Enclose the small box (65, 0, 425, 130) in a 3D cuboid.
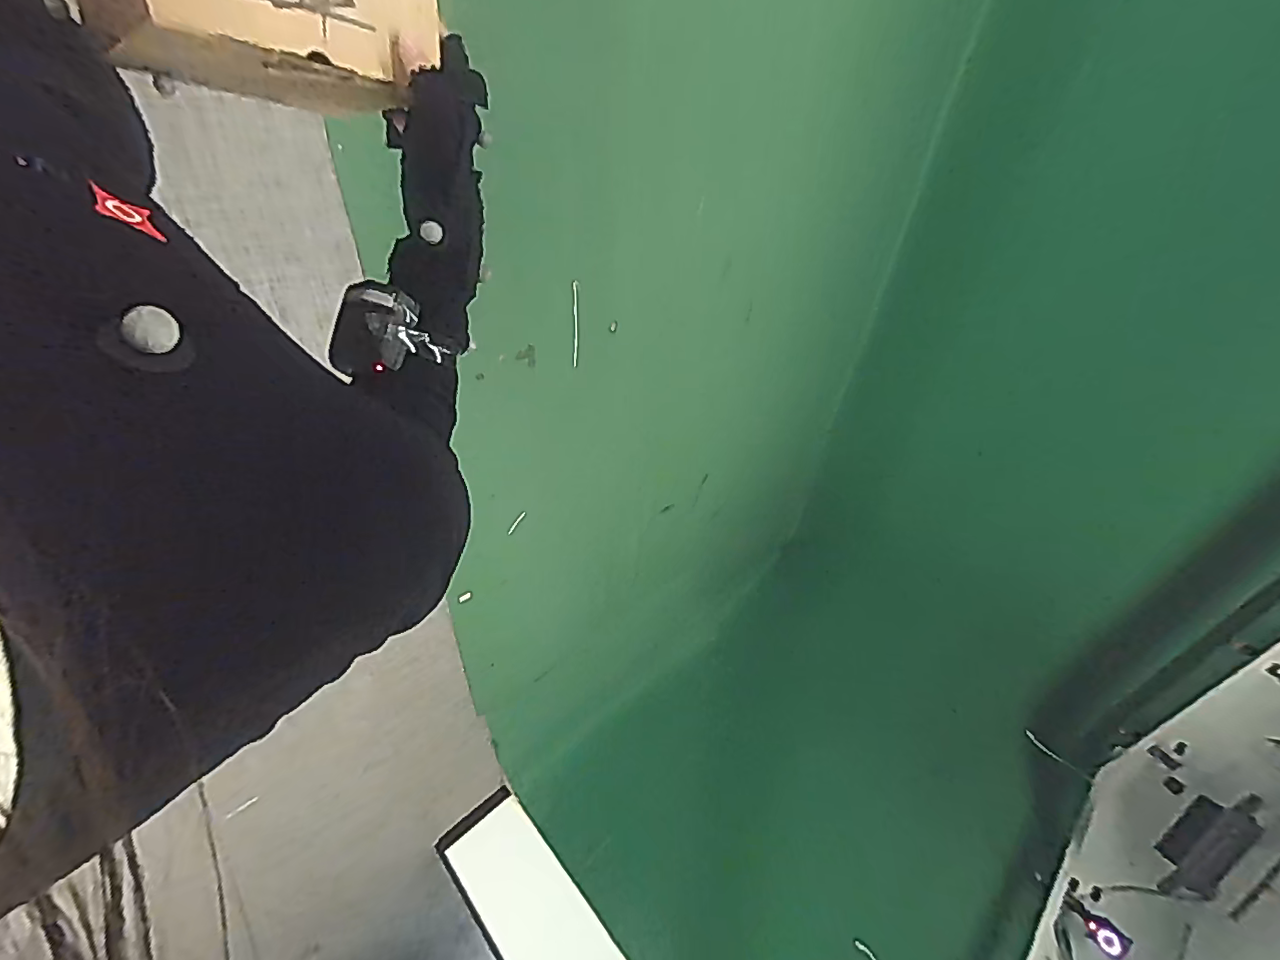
[{"bbox_3d":[-0.267,-0.351,0.357,0.168,0.176,0.179,-22,123,-47],"label":"small box"}]
